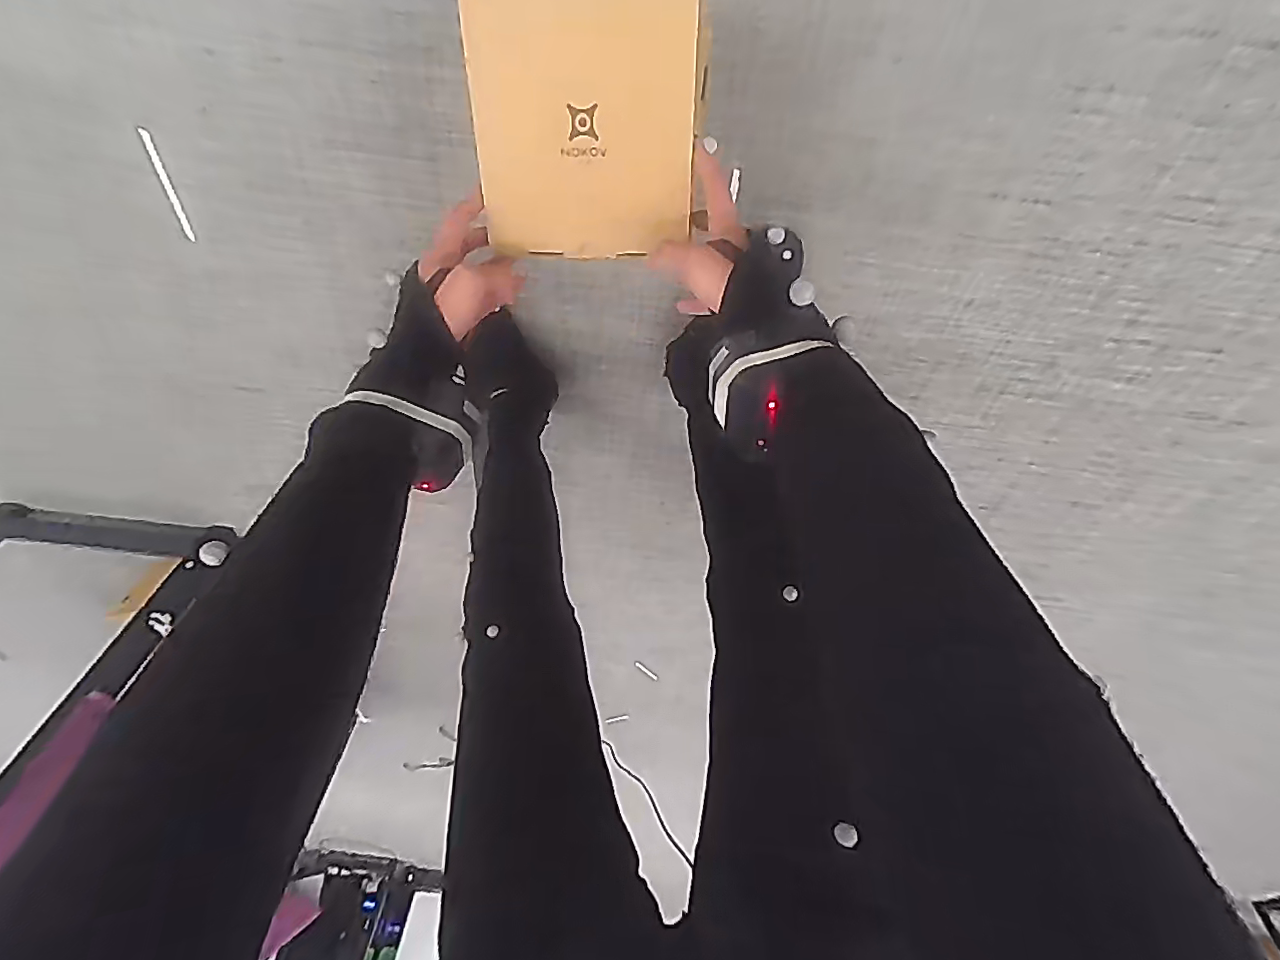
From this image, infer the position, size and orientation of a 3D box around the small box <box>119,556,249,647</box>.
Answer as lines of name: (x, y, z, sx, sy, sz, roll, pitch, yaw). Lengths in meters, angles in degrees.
small box: (-1.212, 0.326, 1.453, 0.179, 0.176, 0.168, -14, 131, 19)

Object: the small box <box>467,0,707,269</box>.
small box: (-0.031, -0.290, 0.470, 0.168, 0.176, 0.179, 3, 121, 5)
